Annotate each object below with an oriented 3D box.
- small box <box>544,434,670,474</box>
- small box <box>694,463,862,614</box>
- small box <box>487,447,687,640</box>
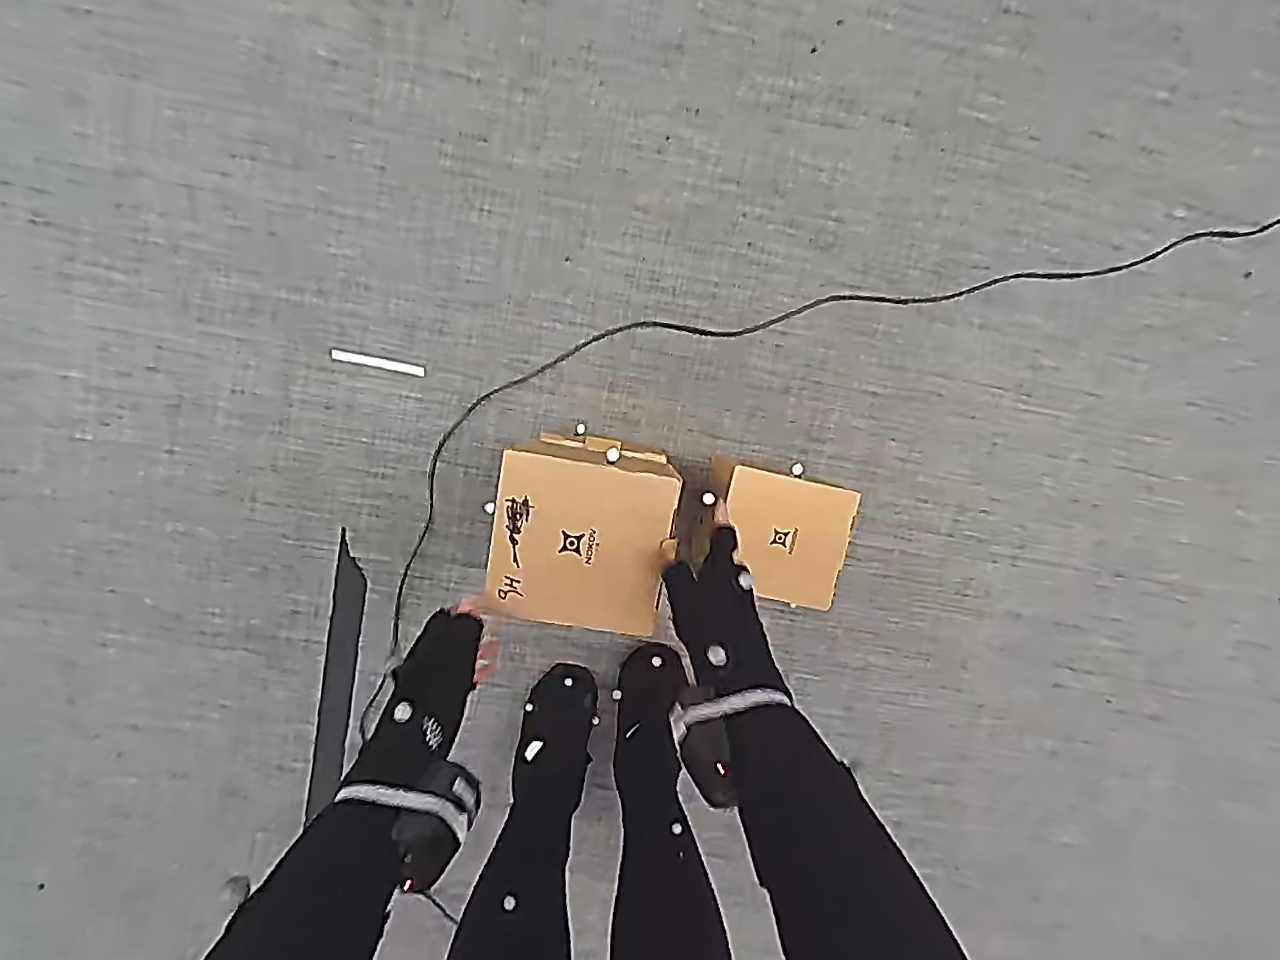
[{"bbox_3d":[-0.060,0.034,0.774,0.168,0.176,0.179,11,97,-3],"label":"small box"},{"bbox_3d":[0.187,0.074,0.791,0.179,0.176,0.168,13,96,-5],"label":"small box"},{"bbox_3d":[-0.056,0.059,0.612,0.179,0.176,0.168,10,96,-3],"label":"small box"}]
